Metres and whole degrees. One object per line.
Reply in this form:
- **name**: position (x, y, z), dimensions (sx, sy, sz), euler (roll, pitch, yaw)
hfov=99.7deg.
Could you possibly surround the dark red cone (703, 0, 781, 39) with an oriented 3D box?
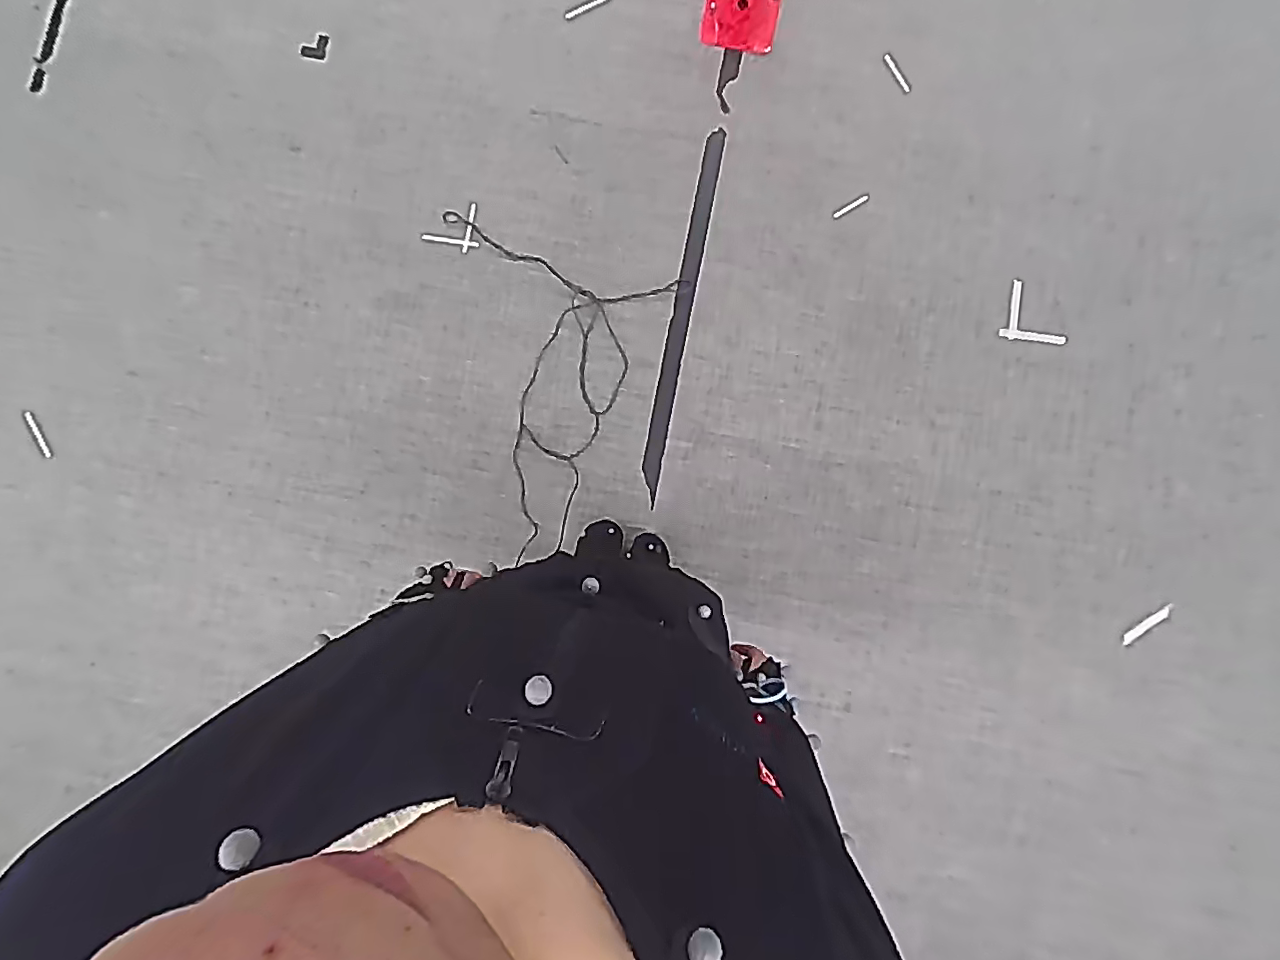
- **dark red cone**: position (0.271, -1.283, 1.266), dimensions (0.201, 0.394, 0.202), euler (10, 87, 2)
